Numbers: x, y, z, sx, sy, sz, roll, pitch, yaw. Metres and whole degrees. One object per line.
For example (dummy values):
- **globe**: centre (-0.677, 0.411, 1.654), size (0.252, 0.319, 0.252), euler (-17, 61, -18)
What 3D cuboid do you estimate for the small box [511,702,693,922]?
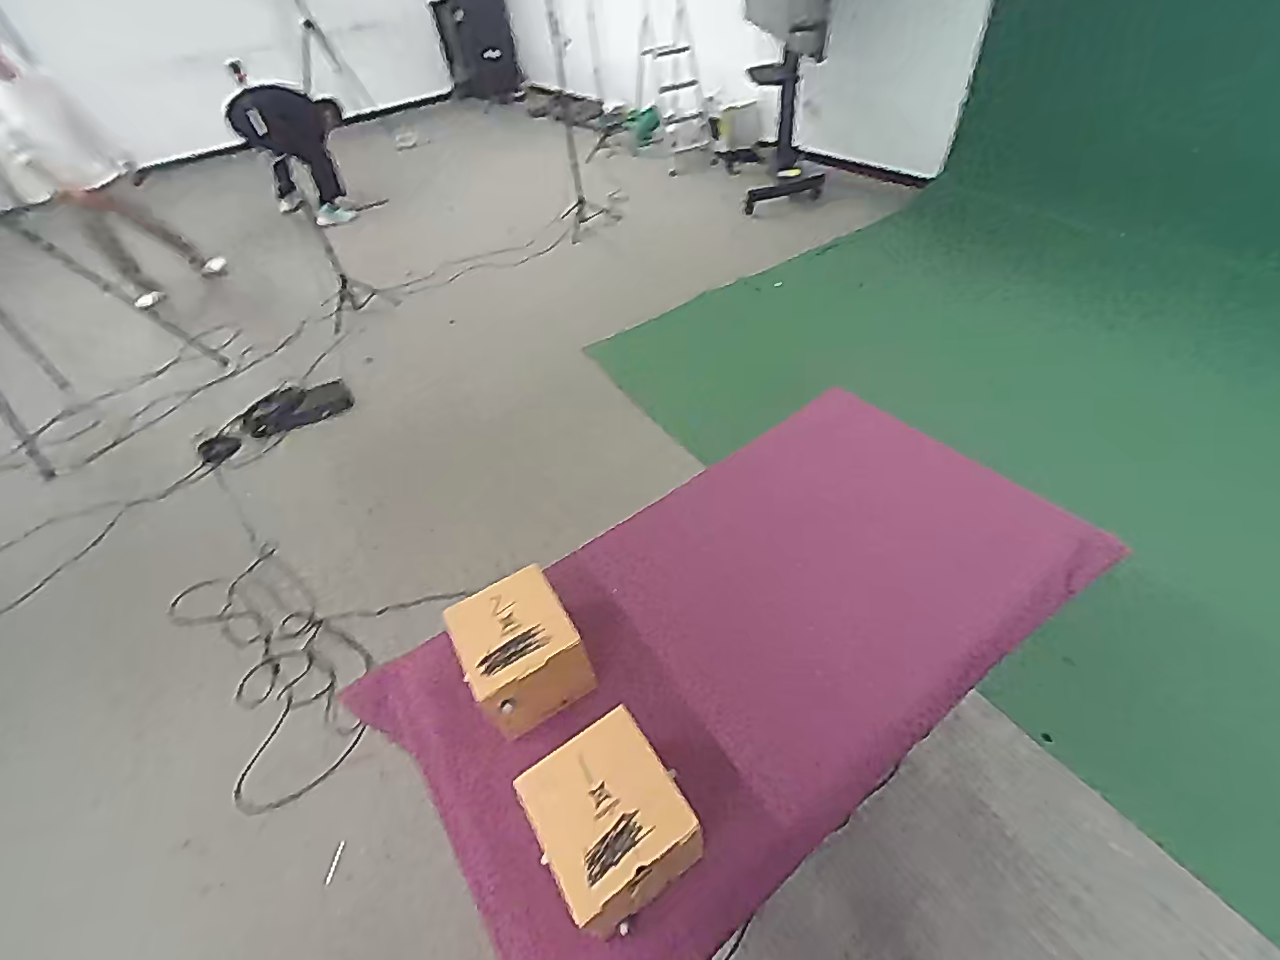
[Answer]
- **small box**: centre (-0.042, 0.437, 0.709), size (0.168, 0.176, 0.179), euler (-28, 49, -19)
